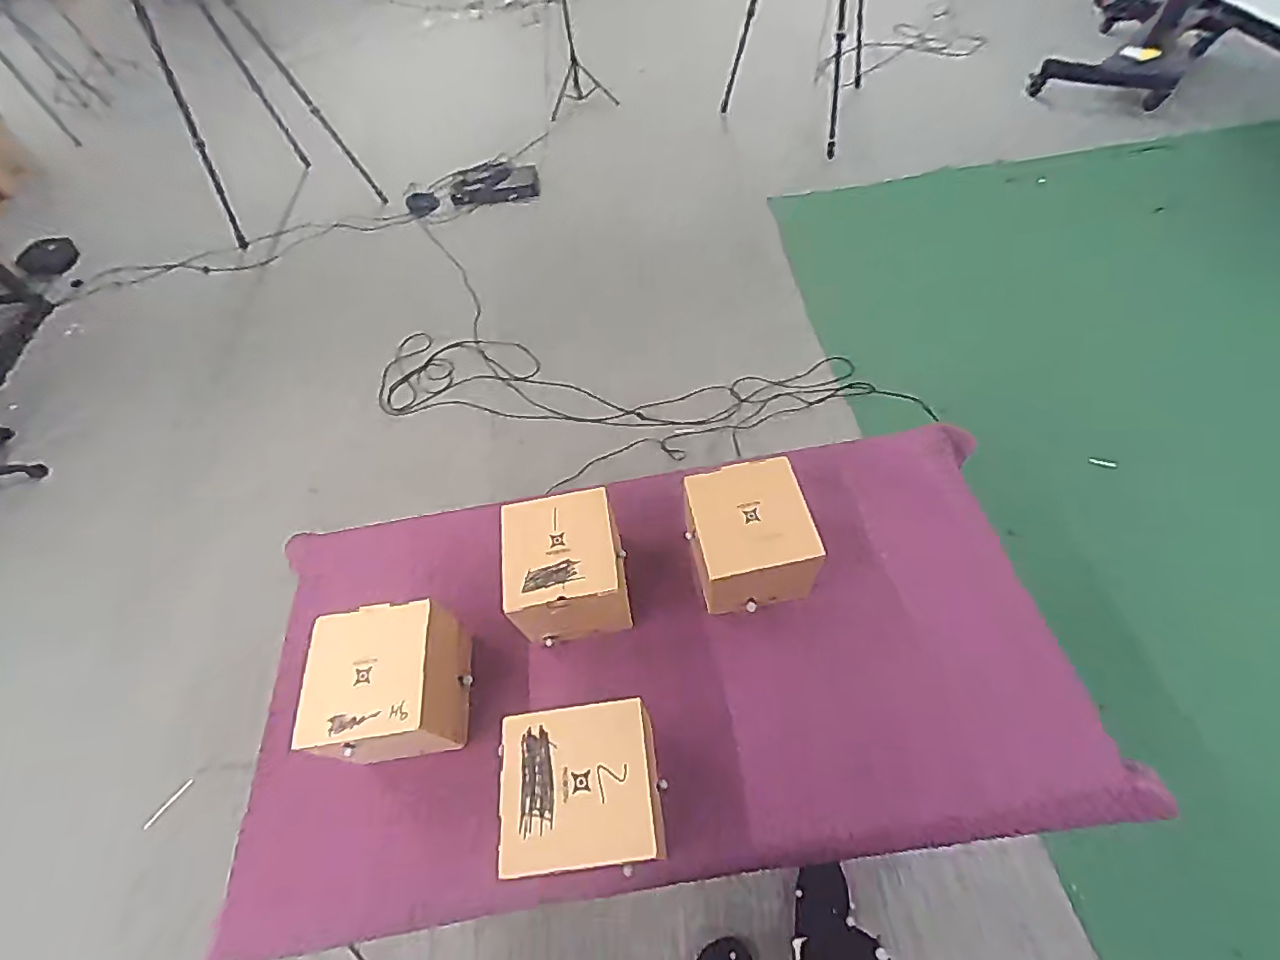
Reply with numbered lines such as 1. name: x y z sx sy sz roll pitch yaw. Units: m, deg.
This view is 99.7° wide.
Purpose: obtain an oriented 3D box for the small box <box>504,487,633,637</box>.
1. small box: -0.110 0.138 0.860 0.168 0.176 0.179 -11 56 0

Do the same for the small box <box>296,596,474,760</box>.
1. small box: -0.353 0.292 0.788 0.168 0.176 0.179 -10 56 2

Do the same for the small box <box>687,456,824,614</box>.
1. small box: 0.171 0.091 0.857 0.168 0.176 0.179 -11 57 1
